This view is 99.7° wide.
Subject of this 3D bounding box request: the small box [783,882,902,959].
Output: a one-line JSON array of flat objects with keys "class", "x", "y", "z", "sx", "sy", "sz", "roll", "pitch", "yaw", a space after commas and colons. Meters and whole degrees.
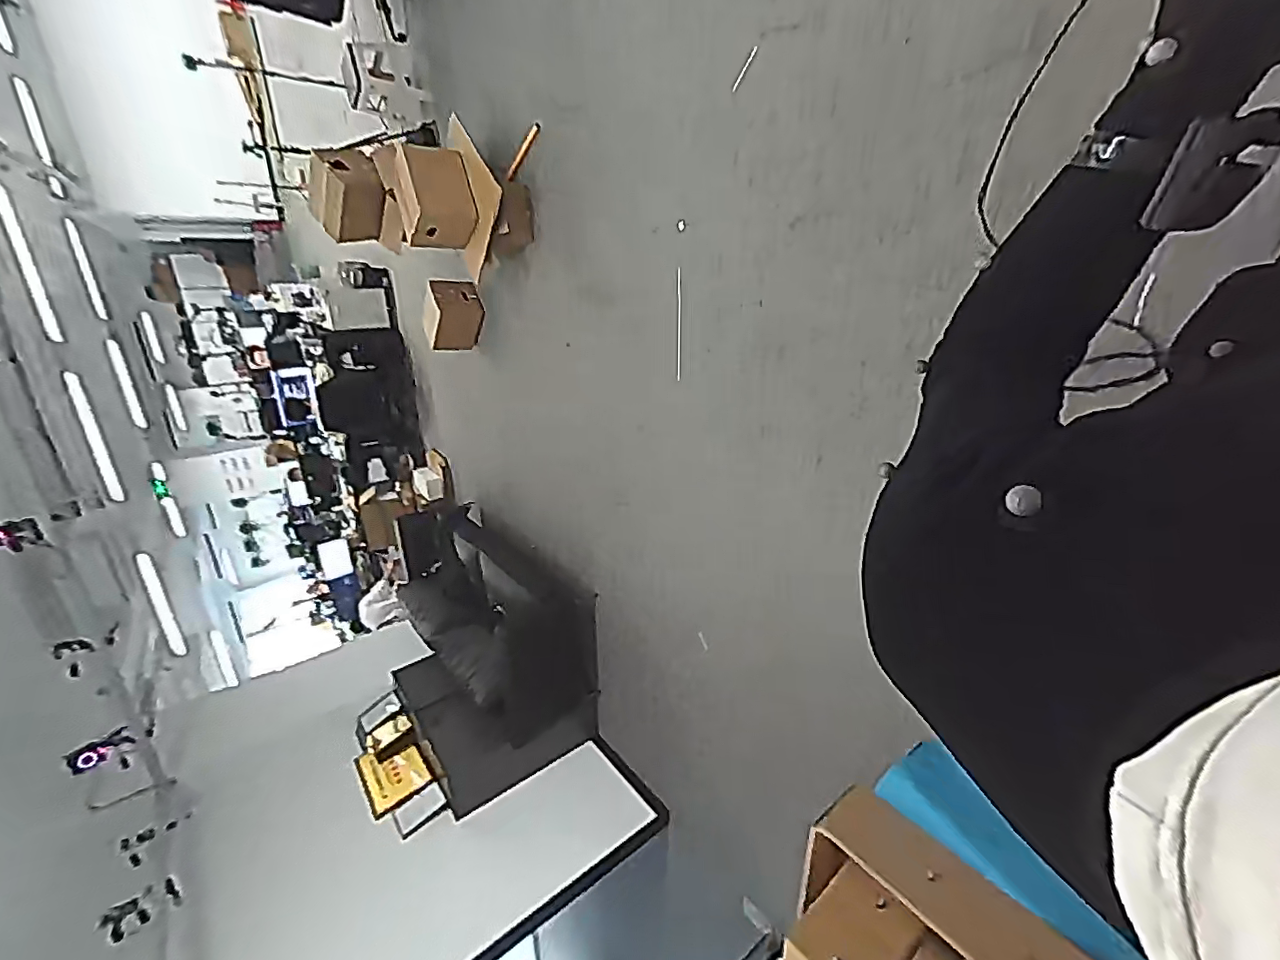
[{"class": "small box", "x": 0.429, "y": 1.024, "z": 1.153, "sx": 0.179, "sy": 0.176, "sz": 0.168, "roll": 26, "pitch": 126, "yaw": 45}]
